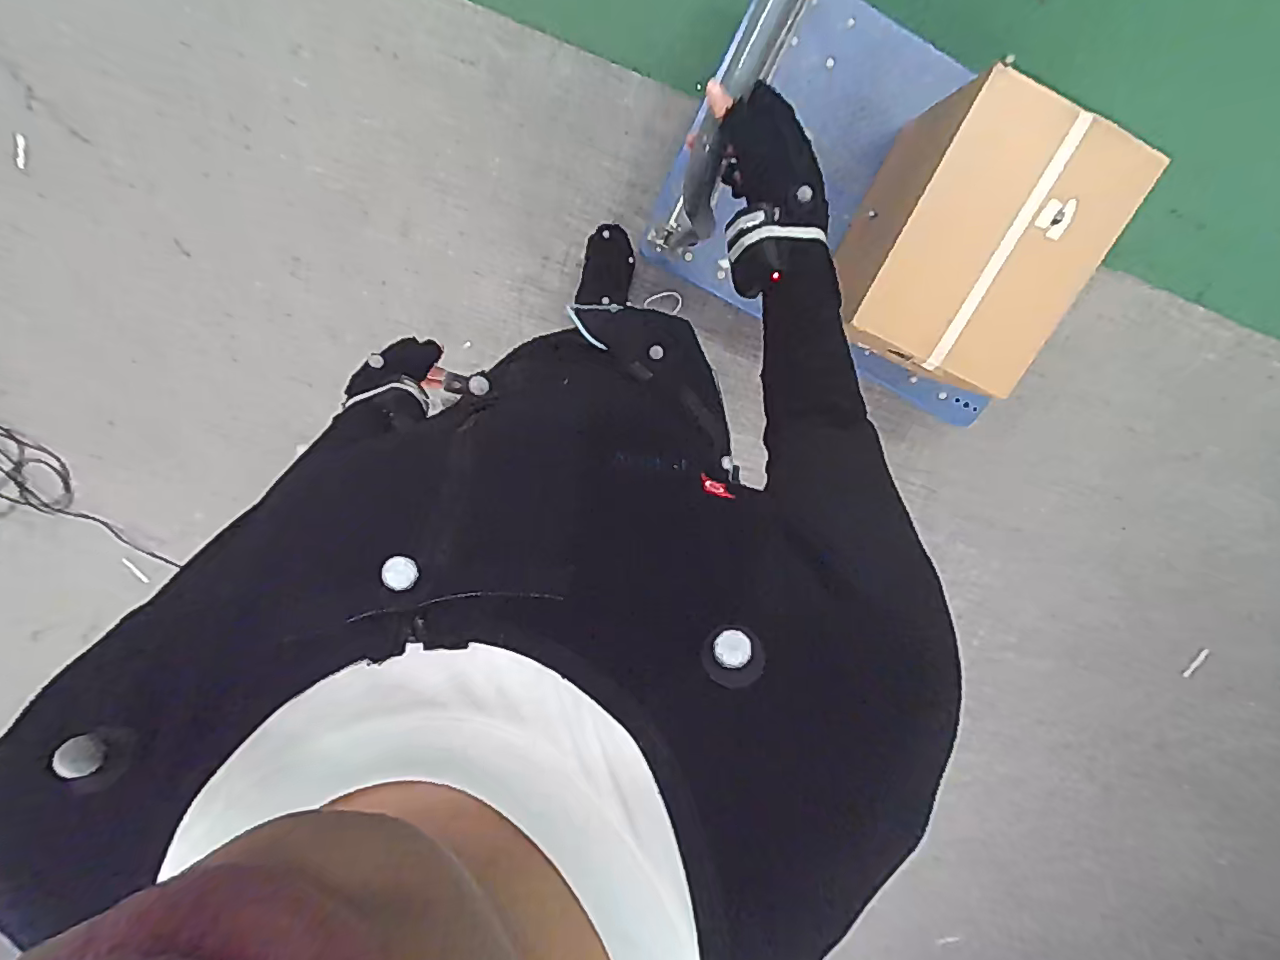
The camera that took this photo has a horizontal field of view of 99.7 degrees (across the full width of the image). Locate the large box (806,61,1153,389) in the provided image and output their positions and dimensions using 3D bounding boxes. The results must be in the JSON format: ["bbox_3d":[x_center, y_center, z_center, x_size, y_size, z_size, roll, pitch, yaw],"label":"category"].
[{"bbox_3d":[0.569,-0.428,1.003,0.320,0.320,0.408,23,107,-7],"label":"large box"}]
